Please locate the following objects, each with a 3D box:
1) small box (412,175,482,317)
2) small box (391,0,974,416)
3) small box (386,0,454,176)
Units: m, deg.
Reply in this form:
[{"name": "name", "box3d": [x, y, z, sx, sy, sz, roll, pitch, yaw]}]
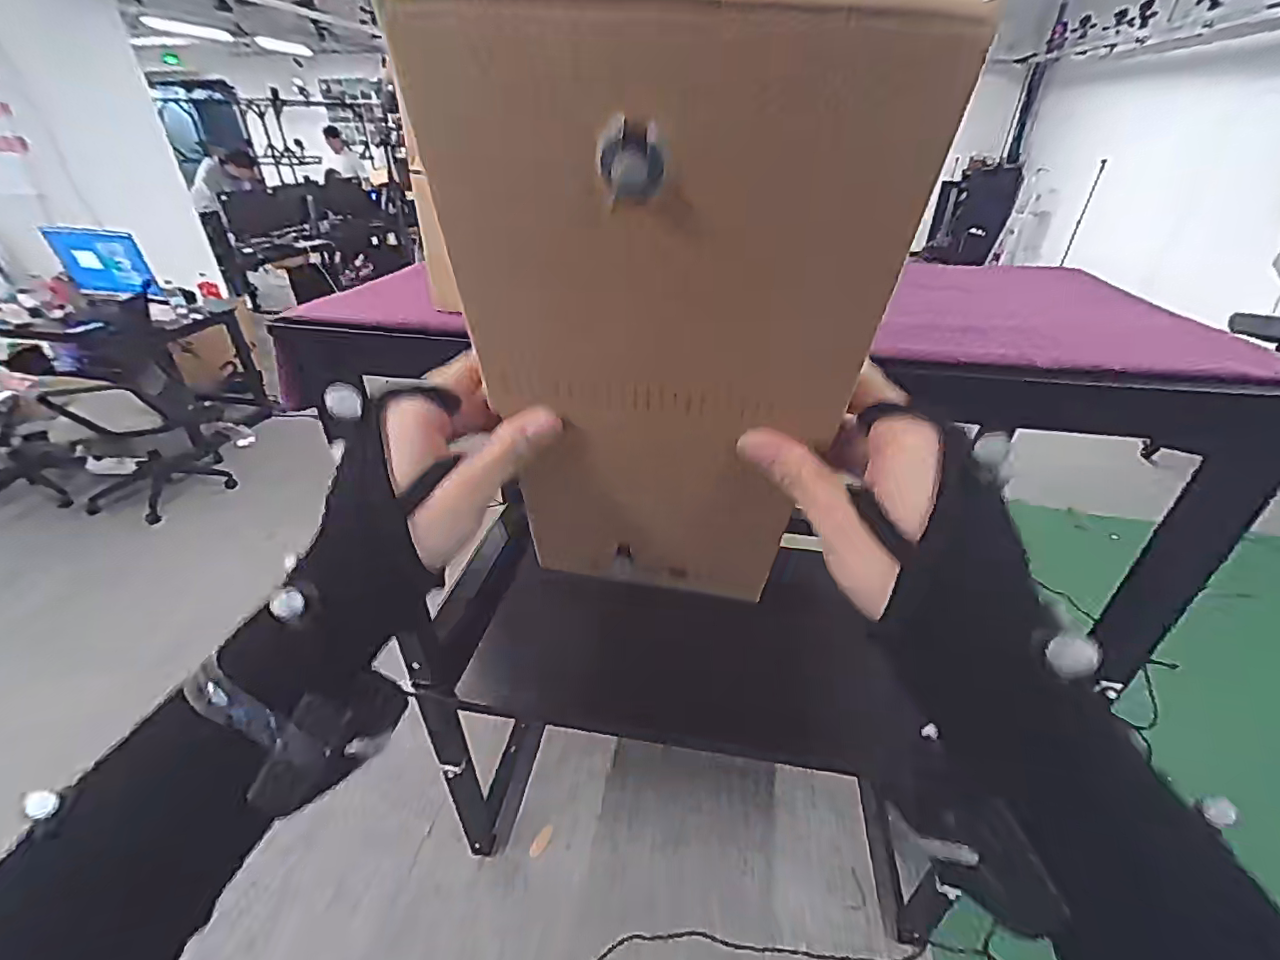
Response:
[{"name": "small box", "box3d": [-0.176, -0.326, 0.745, 0.179, 0.176, 0.168, 5, 32, 9]}, {"name": "small box", "box3d": [0.020, -0.148, 0.259, 0.179, 0.176, 0.168, 7, 52, 6]}, {"name": "small box", "box3d": [-0.177, -0.470, 0.668, 0.168, 0.176, 0.179, 6, 32, 8]}]
